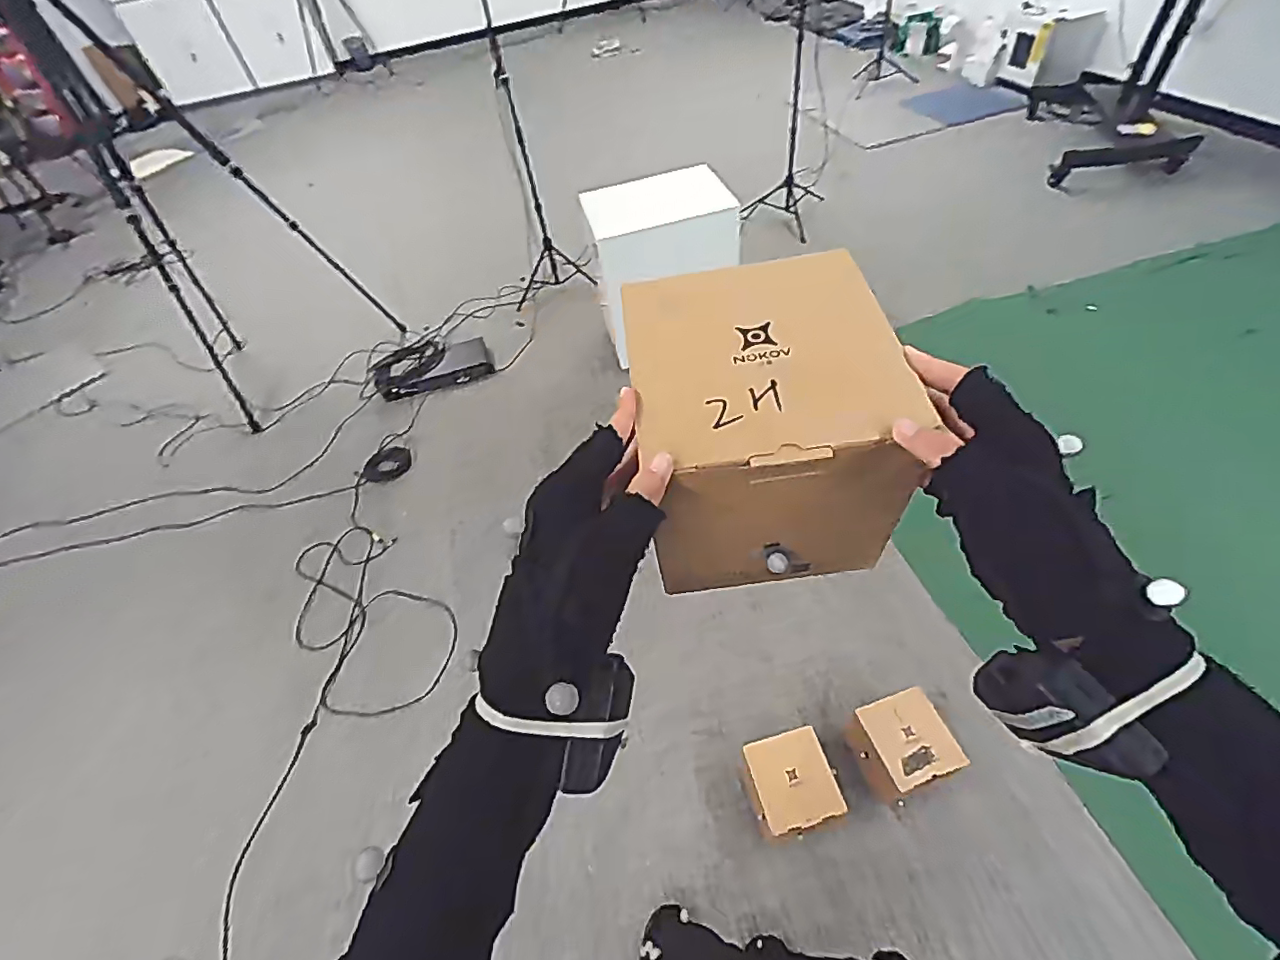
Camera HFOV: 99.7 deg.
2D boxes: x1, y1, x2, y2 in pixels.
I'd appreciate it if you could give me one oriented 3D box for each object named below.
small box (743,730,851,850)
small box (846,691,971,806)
[{"bbox_3d":[0.334,0.685,1.191,0.168,0.176,0.179,-15,50,-4],"label":"small box"},{"bbox_3d":[0.591,0.608,1.213,0.168,0.176,0.179,-18,49,-6],"label":"small box"}]
